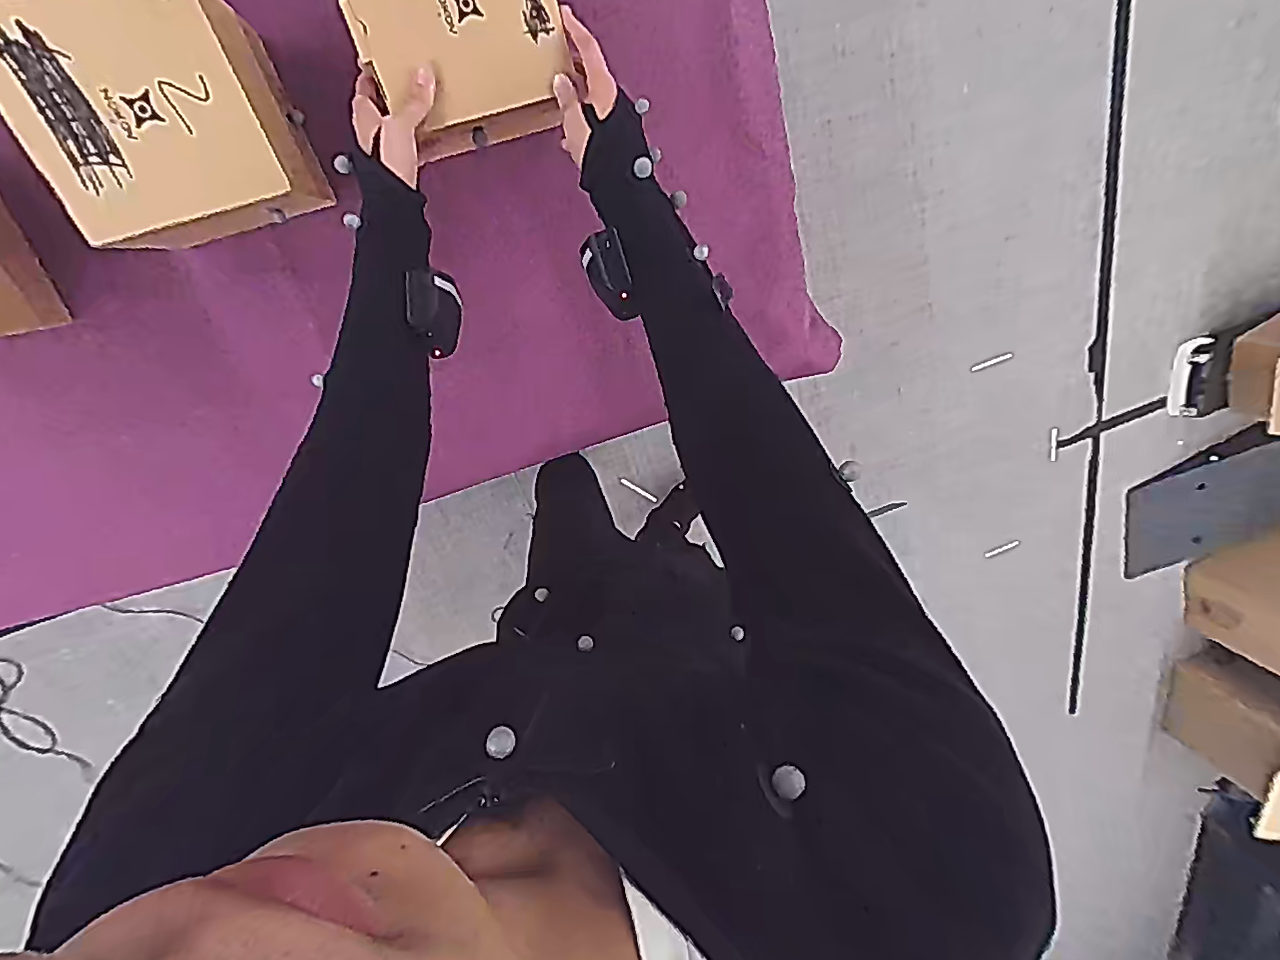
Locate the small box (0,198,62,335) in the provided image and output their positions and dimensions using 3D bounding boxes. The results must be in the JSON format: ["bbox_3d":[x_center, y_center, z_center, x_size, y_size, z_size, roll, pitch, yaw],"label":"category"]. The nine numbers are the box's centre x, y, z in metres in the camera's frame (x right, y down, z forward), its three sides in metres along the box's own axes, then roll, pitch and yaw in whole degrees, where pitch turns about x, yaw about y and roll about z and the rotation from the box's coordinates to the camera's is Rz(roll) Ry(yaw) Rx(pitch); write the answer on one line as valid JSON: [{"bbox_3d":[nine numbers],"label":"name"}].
[{"bbox_3d":[-0.701,-0.204,0.482,0.168,0.176,0.179,-15,115,-9],"label":"small box"}]
